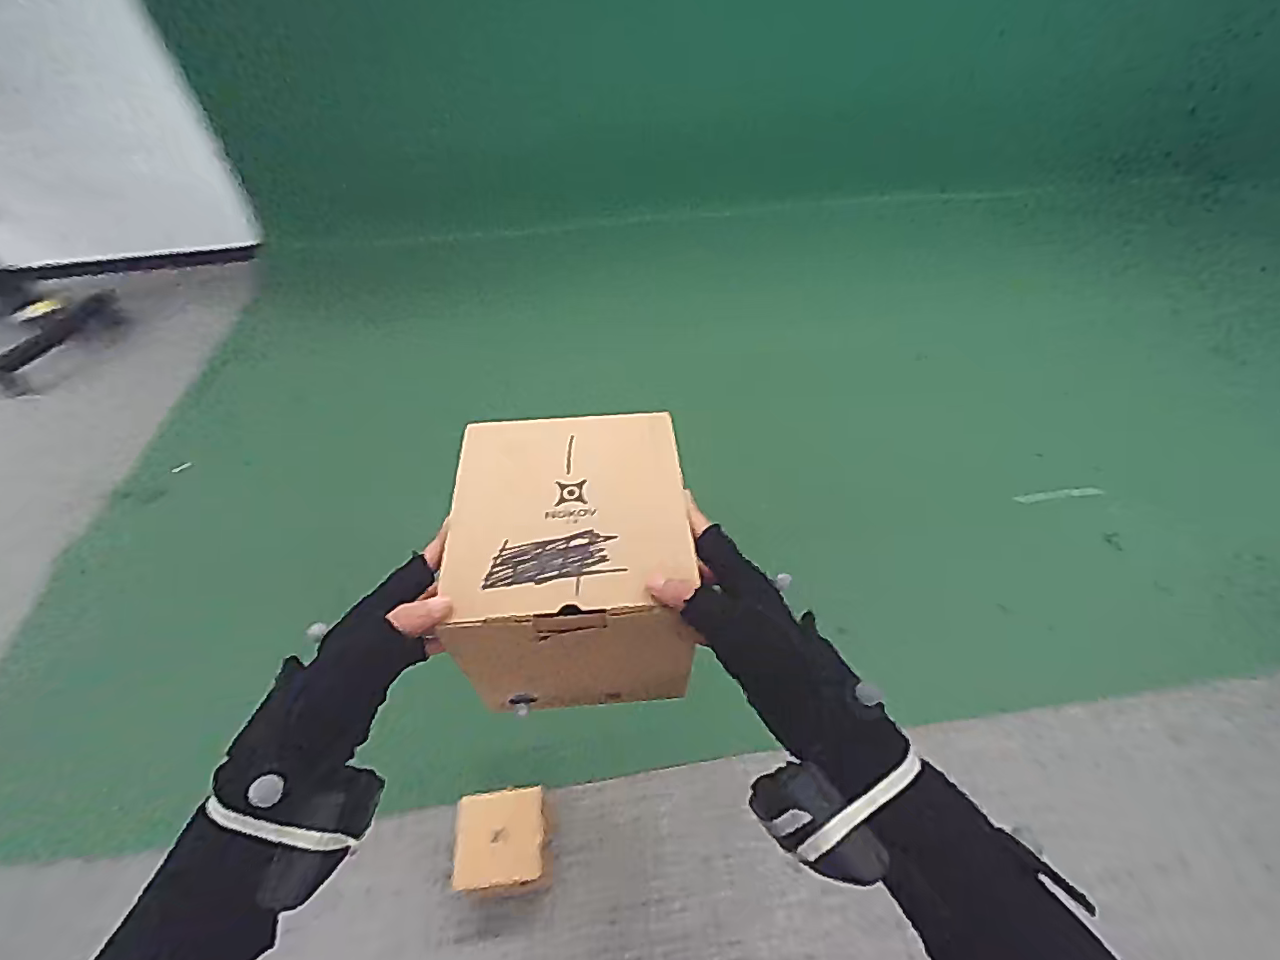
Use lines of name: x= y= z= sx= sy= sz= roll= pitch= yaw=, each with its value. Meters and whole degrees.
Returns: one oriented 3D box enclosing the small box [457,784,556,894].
small box: x=-0.284 y=0.788 z=1.184 sx=0.179 sy=0.176 sz=0.168 roll=-6 pitch=49 yaw=-4
